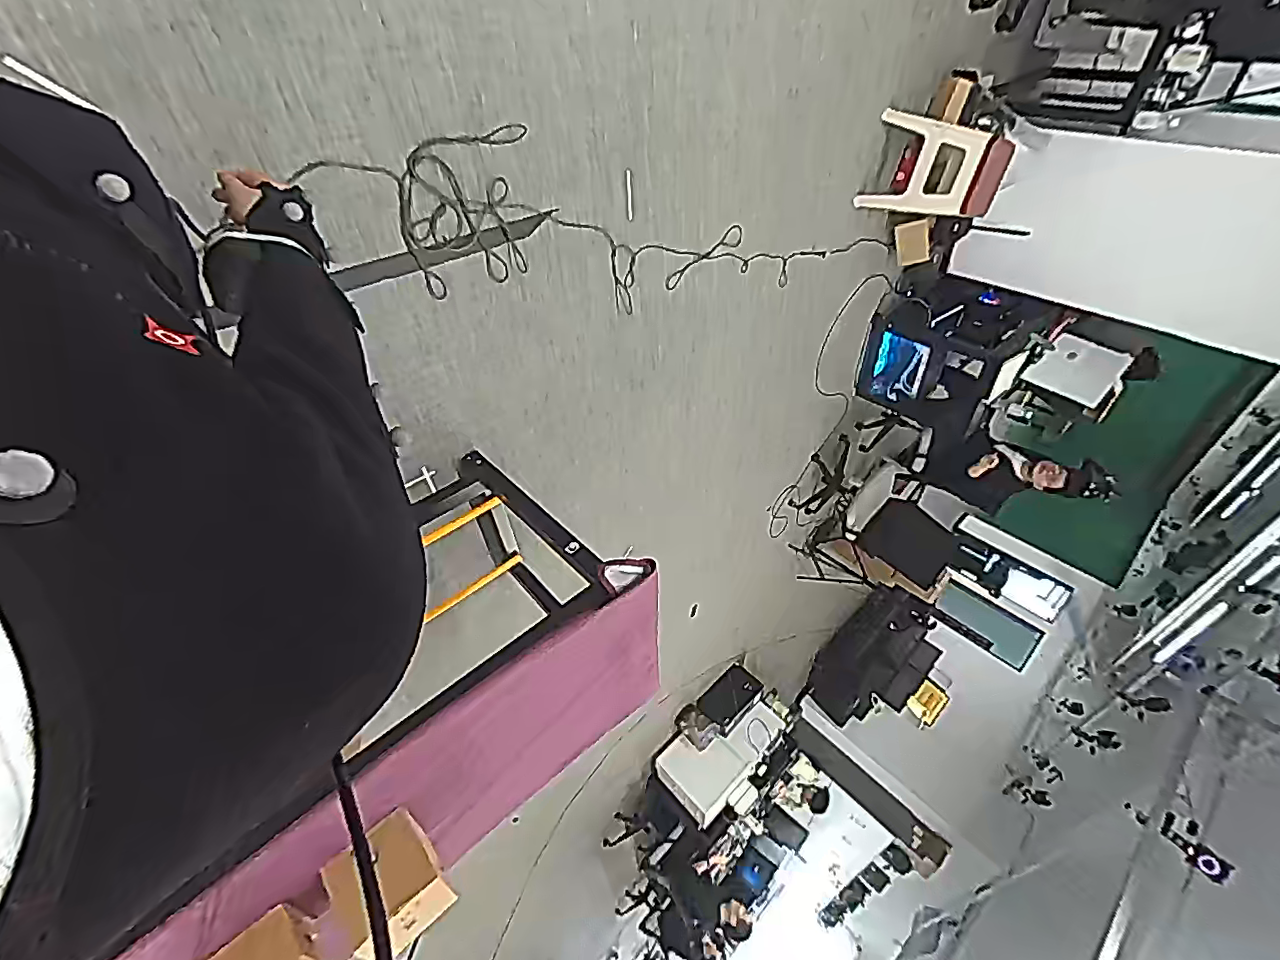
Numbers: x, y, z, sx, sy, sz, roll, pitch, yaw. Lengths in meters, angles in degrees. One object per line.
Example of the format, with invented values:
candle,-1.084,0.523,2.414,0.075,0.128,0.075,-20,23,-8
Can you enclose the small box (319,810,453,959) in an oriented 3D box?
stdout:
small box,-0.504,0.806,1.081,0.168,0.176,0.179,-32,140,-31

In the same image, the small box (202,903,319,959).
small box,-0.682,0.914,0.959,0.179,0.176,0.168,-30,140,-33
